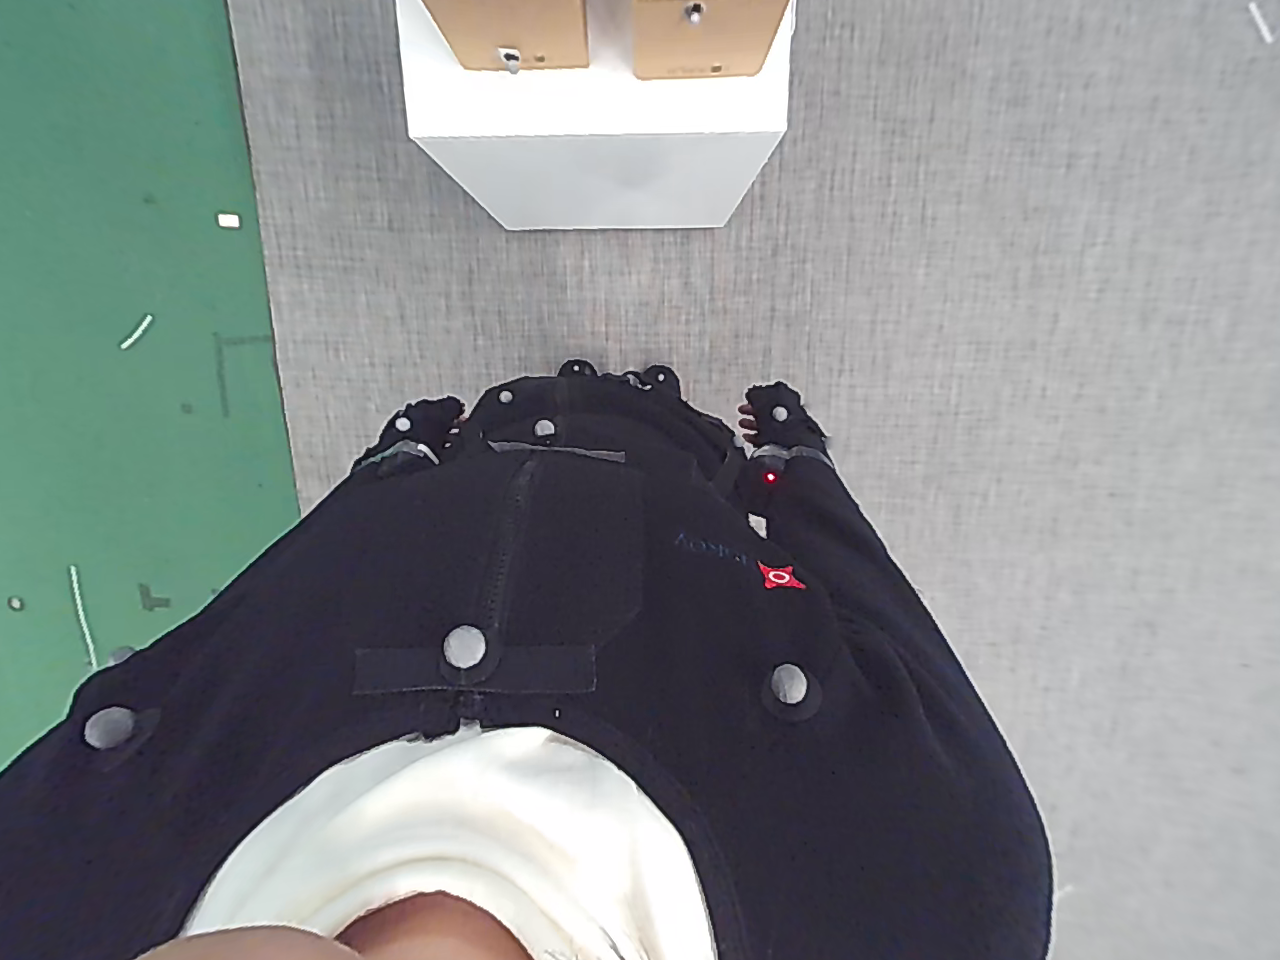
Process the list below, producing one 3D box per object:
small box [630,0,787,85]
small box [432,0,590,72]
[{"bbox_3d":[0.071,-0.594,0.617,0.168,0.176,0.179,-1,101,0],"label":"small box"},{"bbox_3d":[-0.149,-0.599,0.604,0.168,0.176,0.179,-3,103,1],"label":"small box"}]
